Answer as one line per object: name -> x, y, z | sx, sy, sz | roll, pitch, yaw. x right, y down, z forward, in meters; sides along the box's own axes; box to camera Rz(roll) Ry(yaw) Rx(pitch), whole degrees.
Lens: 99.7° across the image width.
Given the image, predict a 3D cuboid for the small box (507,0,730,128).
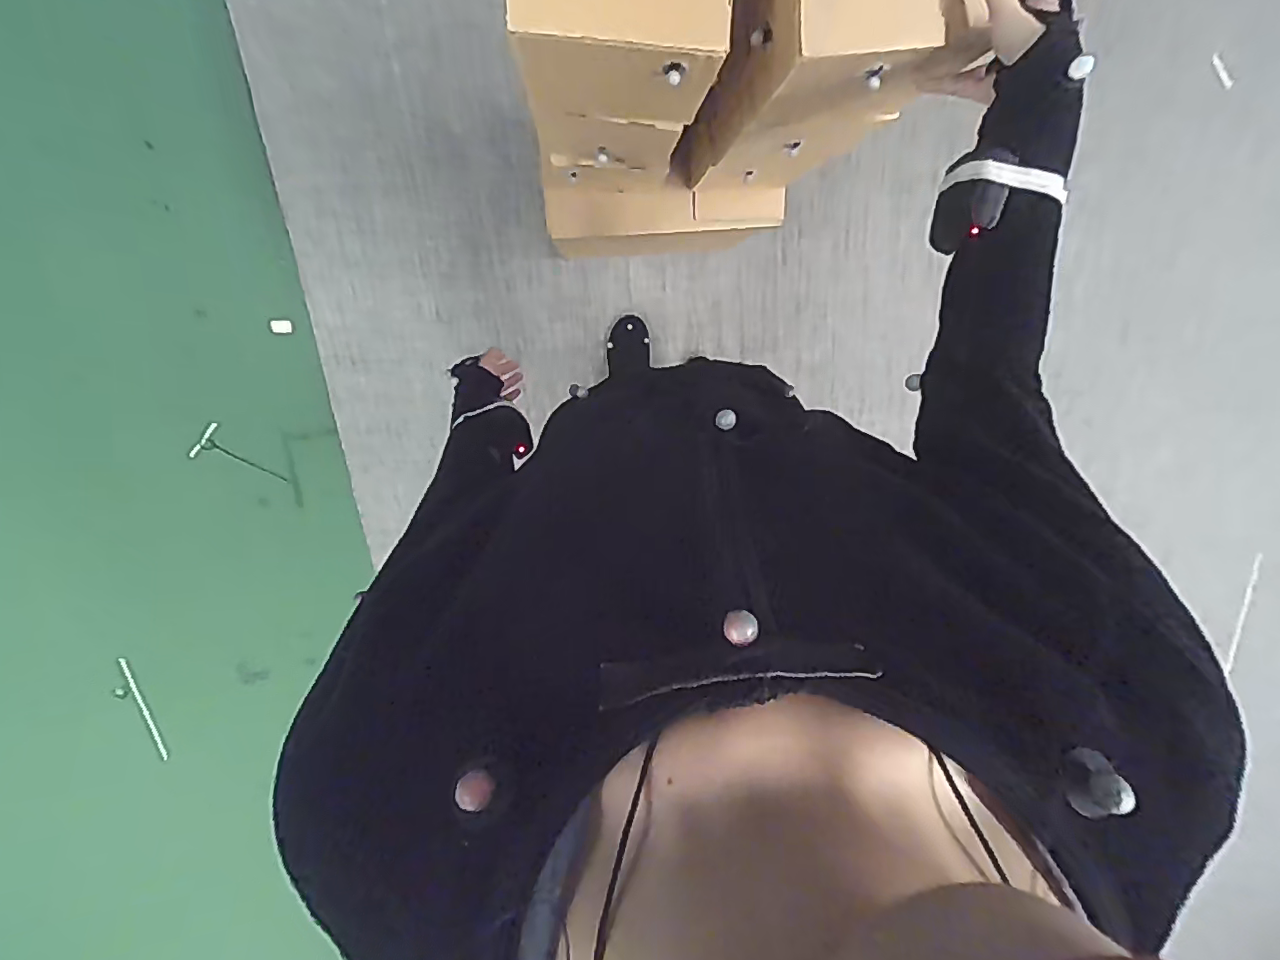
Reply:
small box -> -0.020, -0.437, 0.483 | 0.179, 0.176, 0.168 | 1, 107, -6
